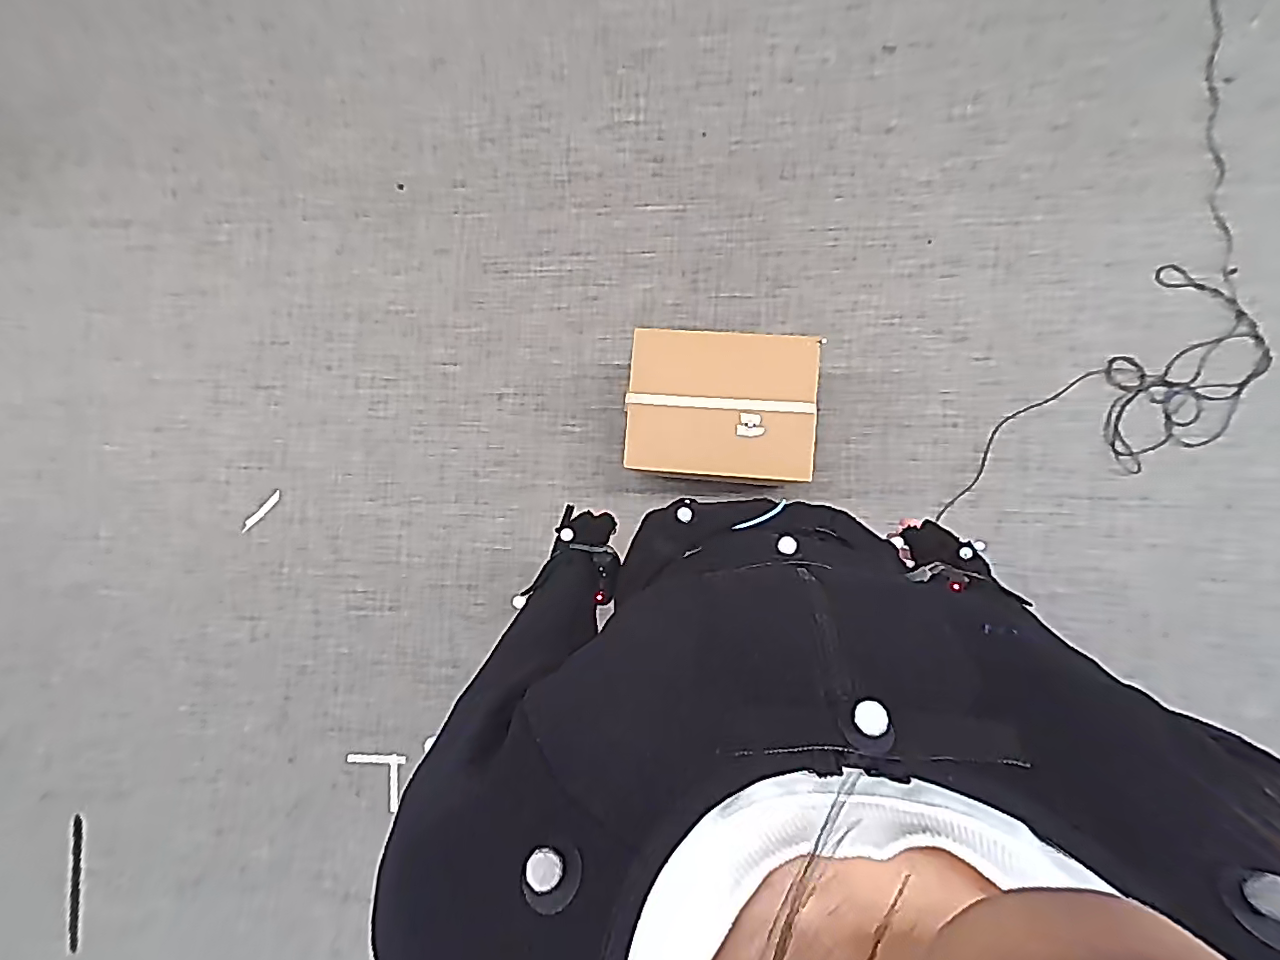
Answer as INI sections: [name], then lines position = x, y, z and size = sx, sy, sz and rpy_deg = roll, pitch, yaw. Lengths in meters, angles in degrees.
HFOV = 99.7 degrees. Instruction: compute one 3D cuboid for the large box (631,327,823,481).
[large box]
position = 0.198, -0.167, 1.319
size = 0.408, 0.320, 0.320
rpy_deg = 4, 89, 6
